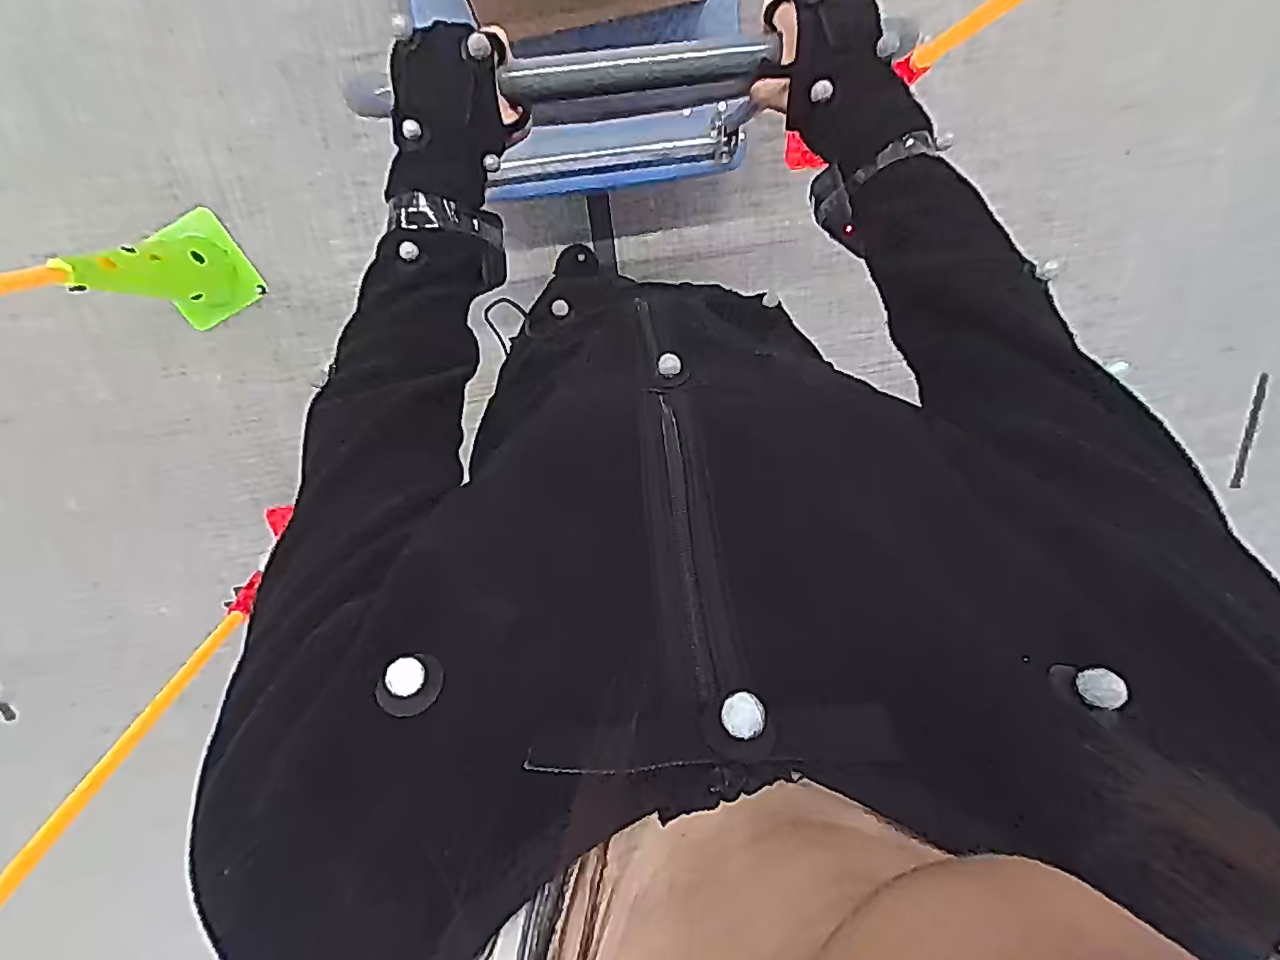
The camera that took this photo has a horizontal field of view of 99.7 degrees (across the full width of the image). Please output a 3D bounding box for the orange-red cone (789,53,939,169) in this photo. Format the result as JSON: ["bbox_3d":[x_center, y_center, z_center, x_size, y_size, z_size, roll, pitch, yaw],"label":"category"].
[{"bbox_3d":[0.453,-0.741,1.043,0.199,0.360,0.198,-3,112,-6],"label":"orange-red cone"}]
